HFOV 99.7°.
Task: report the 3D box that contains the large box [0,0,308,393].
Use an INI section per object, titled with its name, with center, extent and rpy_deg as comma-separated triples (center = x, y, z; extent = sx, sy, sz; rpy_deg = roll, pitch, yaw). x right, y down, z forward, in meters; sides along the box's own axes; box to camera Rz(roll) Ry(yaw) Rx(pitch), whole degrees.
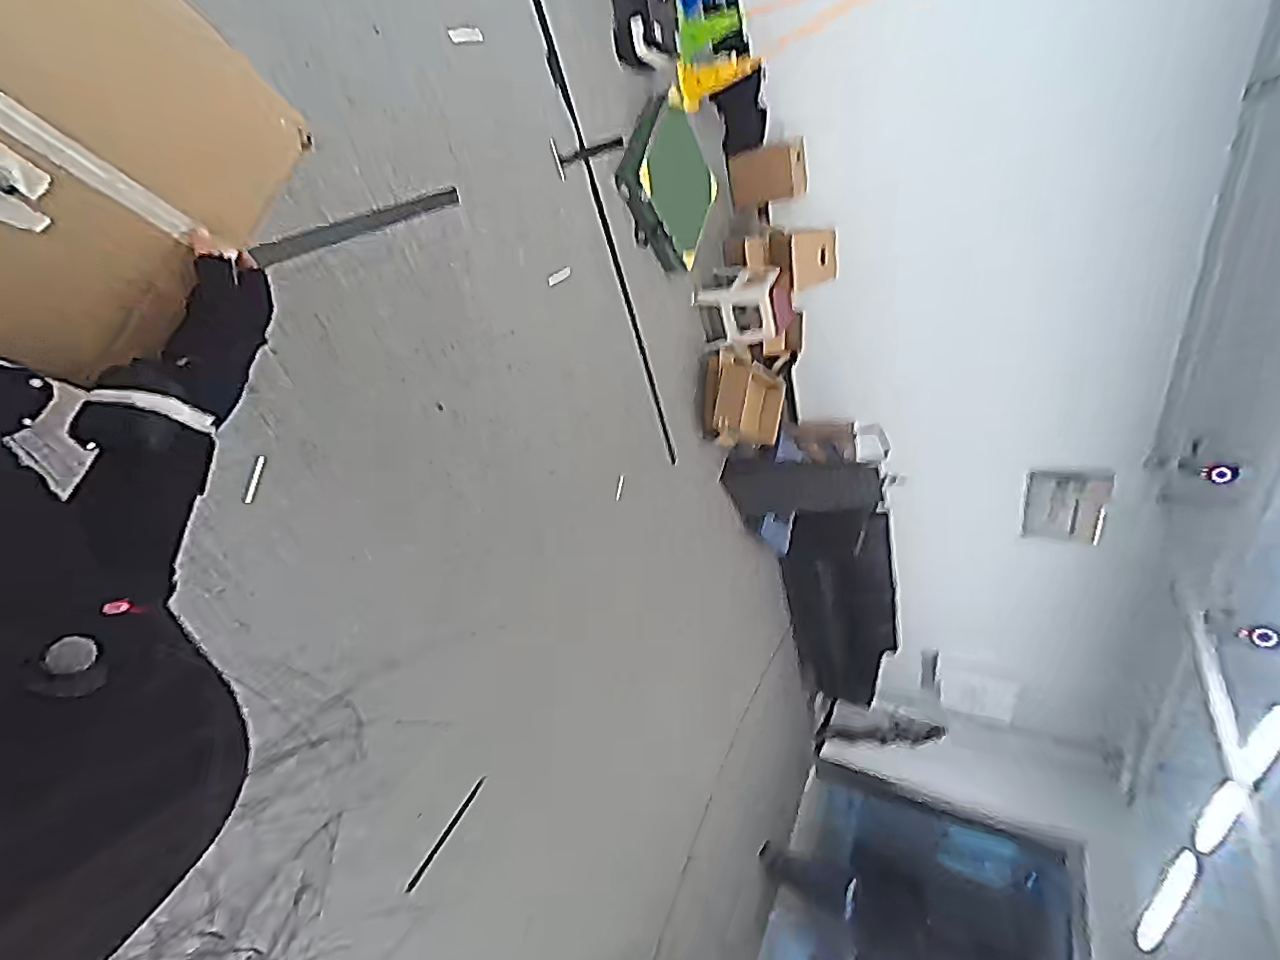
[large box]
center = -0.590, -0.316, 0.416
extent = 0.320, 0.320, 0.408
rpy_deg = -66, 150, -10
